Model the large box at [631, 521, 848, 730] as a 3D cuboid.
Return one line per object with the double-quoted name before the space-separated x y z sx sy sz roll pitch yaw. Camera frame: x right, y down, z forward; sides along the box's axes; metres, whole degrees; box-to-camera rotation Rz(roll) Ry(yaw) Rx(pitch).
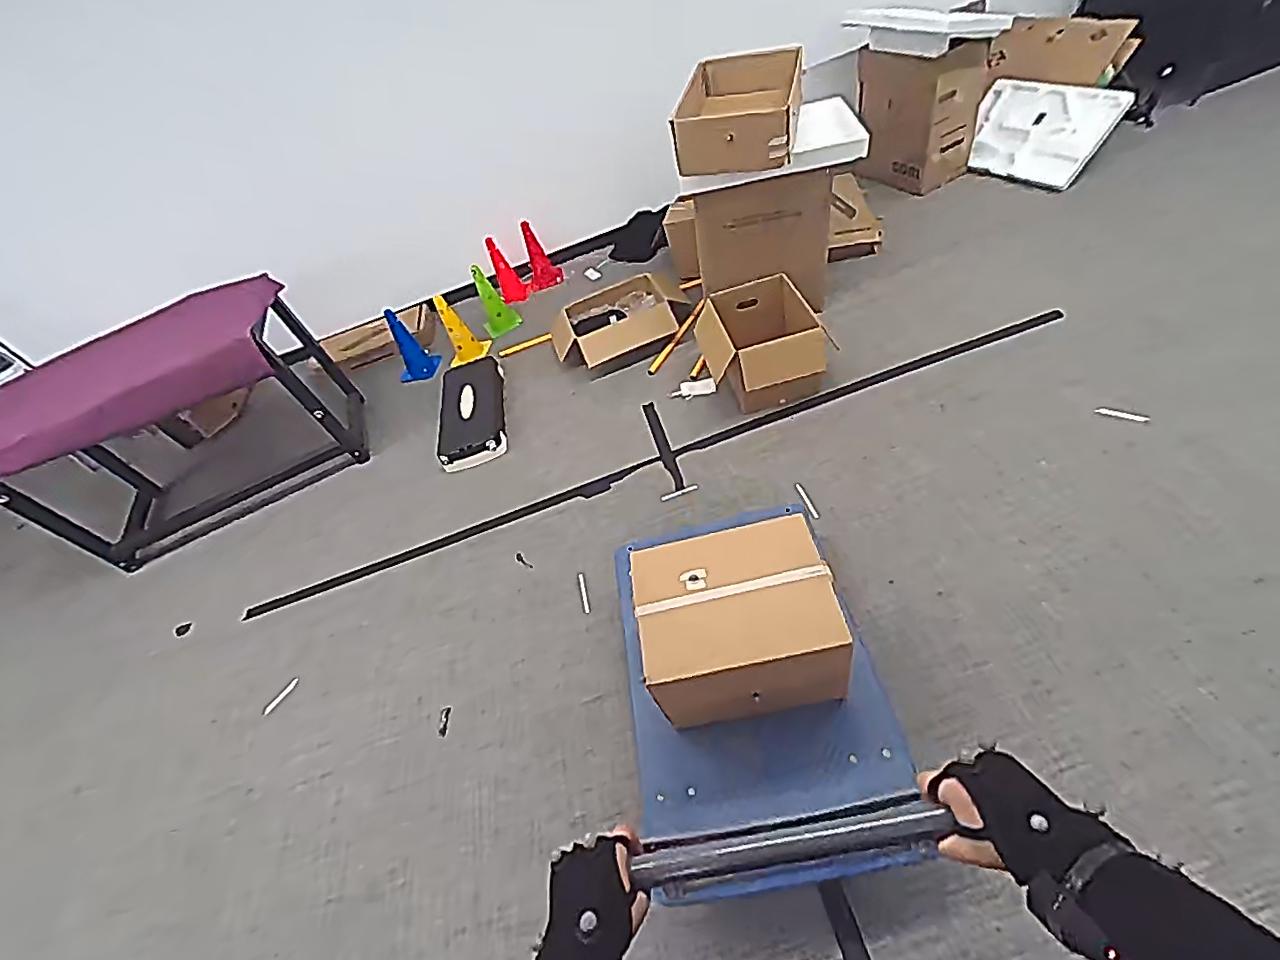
"large box" 0.225 0.346 1.254 0.408 0.320 0.320 -15 47 7
